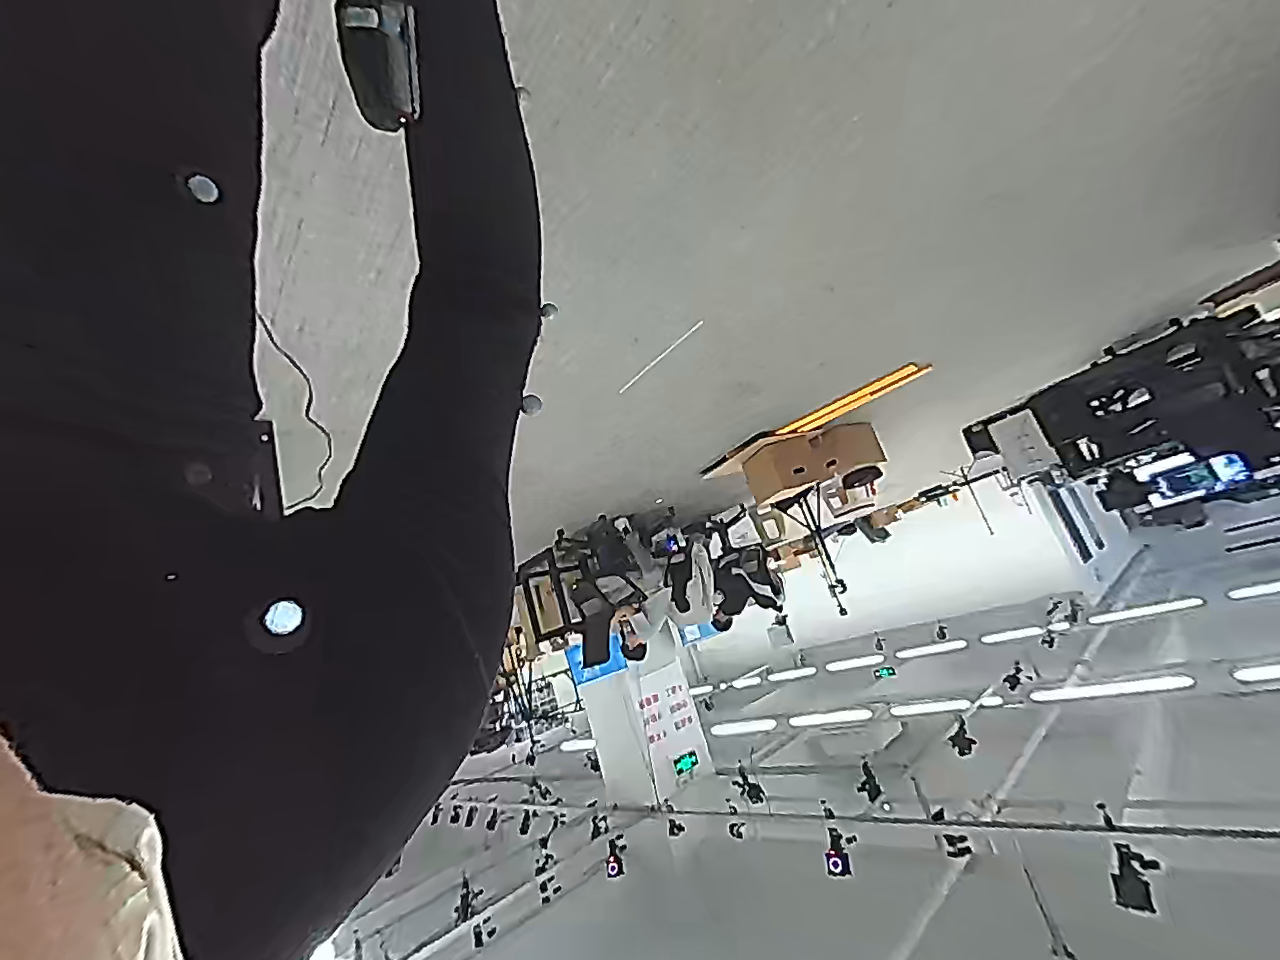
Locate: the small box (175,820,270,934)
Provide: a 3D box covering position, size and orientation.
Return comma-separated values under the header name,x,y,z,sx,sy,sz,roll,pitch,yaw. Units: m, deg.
name,x,y,z,sx,sy,sz,roll,pitch,yaw
small box,-1.025,0.954,1.326,0.168,0.176,0.179,-5,161,-41
